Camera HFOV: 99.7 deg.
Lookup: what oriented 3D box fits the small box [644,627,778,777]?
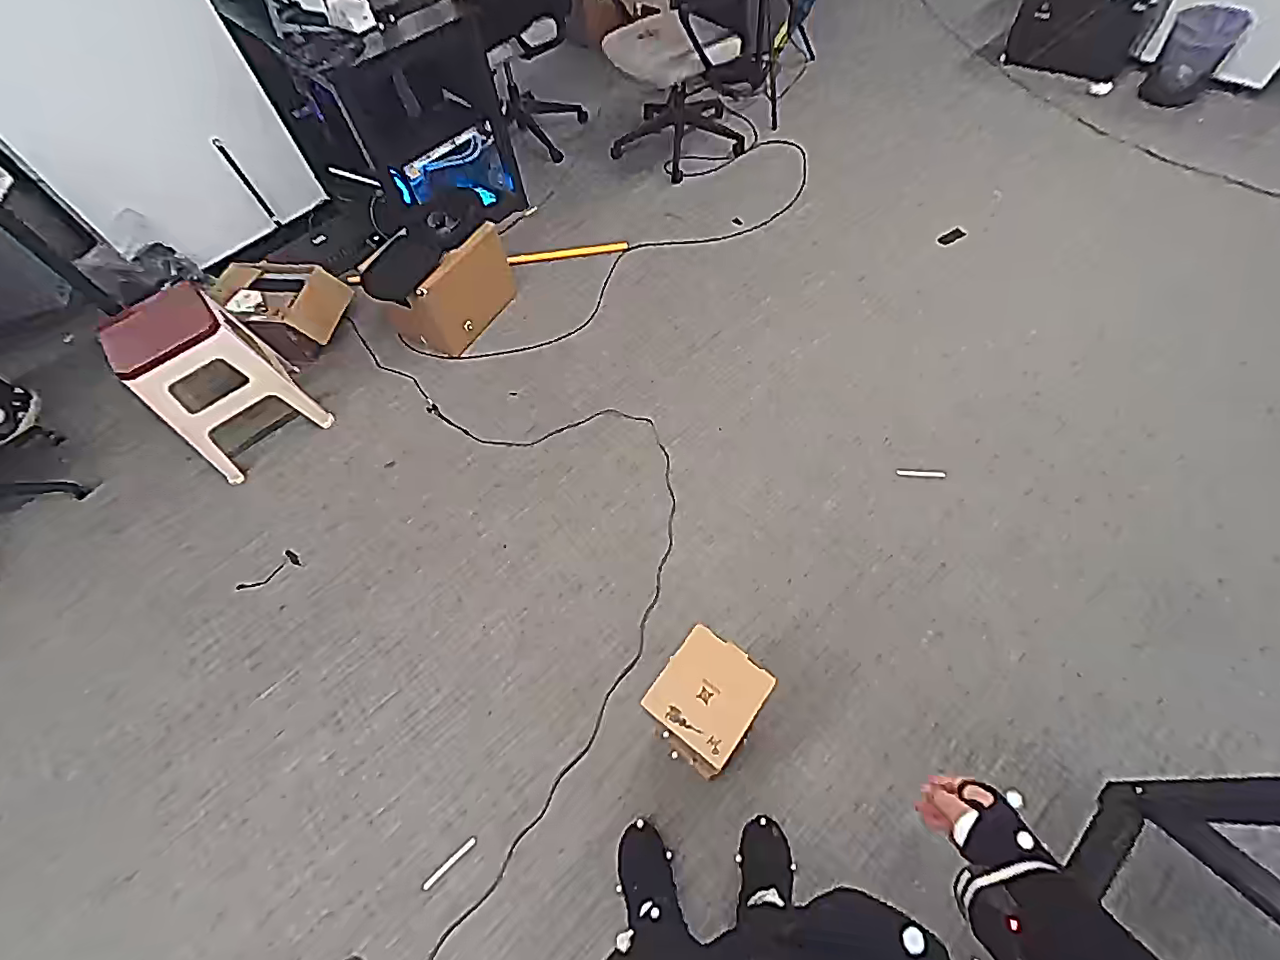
[{"bbox_3d":[0.125,0.404,0.980,0.168,0.176,0.179,32,66,23],"label":"small box"}]

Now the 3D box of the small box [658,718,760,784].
[{"bbox_3d":[0.153,0.574,1.258,0.168,0.176,0.179,38,70,24],"label":"small box"}]
